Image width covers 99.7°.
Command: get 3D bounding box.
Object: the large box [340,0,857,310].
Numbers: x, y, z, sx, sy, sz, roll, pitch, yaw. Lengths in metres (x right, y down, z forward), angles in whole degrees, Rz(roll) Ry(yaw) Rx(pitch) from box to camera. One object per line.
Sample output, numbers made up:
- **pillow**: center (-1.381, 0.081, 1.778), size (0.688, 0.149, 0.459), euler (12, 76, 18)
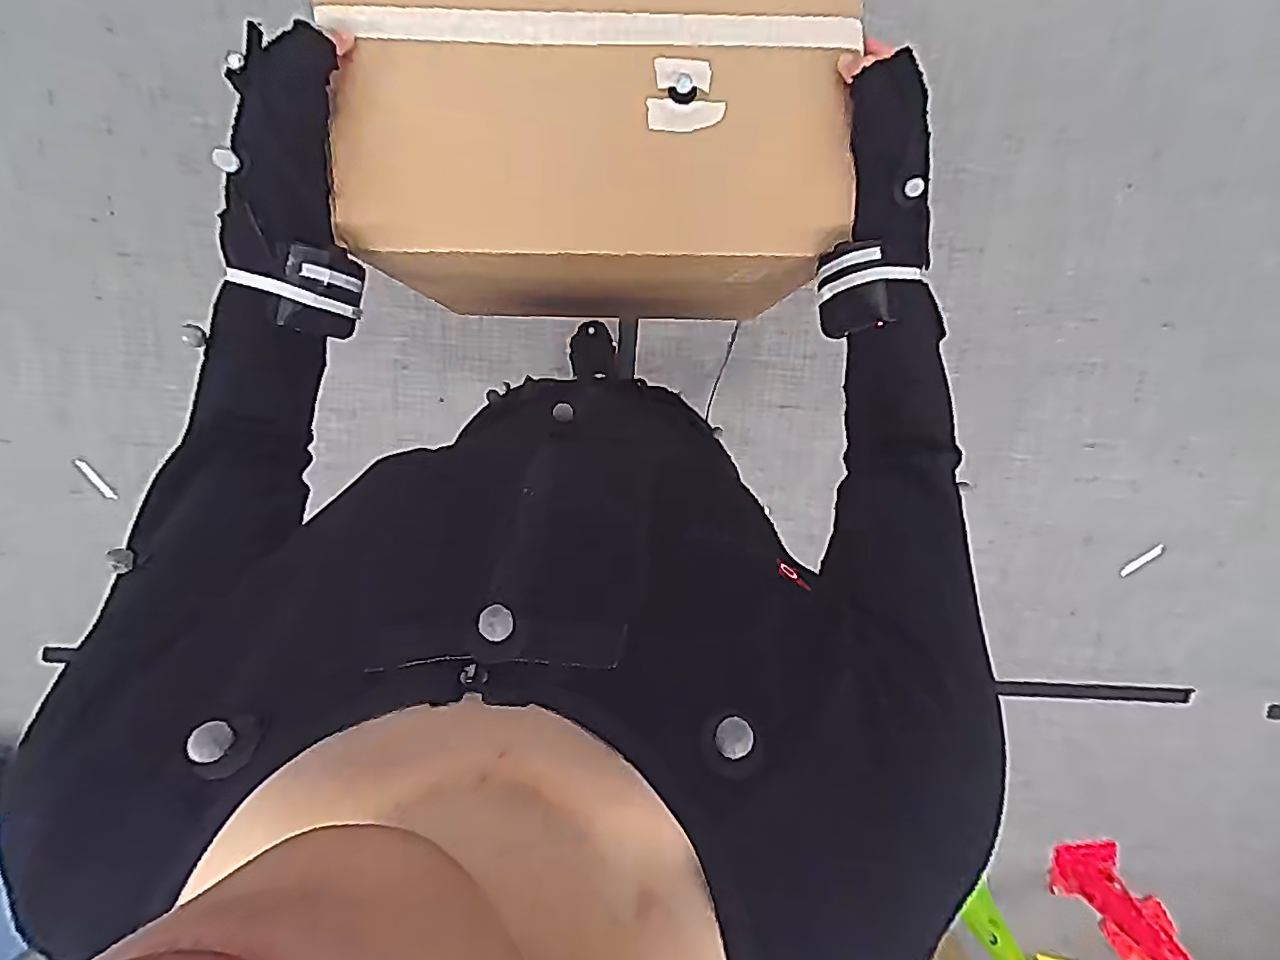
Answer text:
- **large box**: center (-0.037, -0.365, 0.562), size (0.408, 0.320, 0.320), euler (0, 98, -2)
